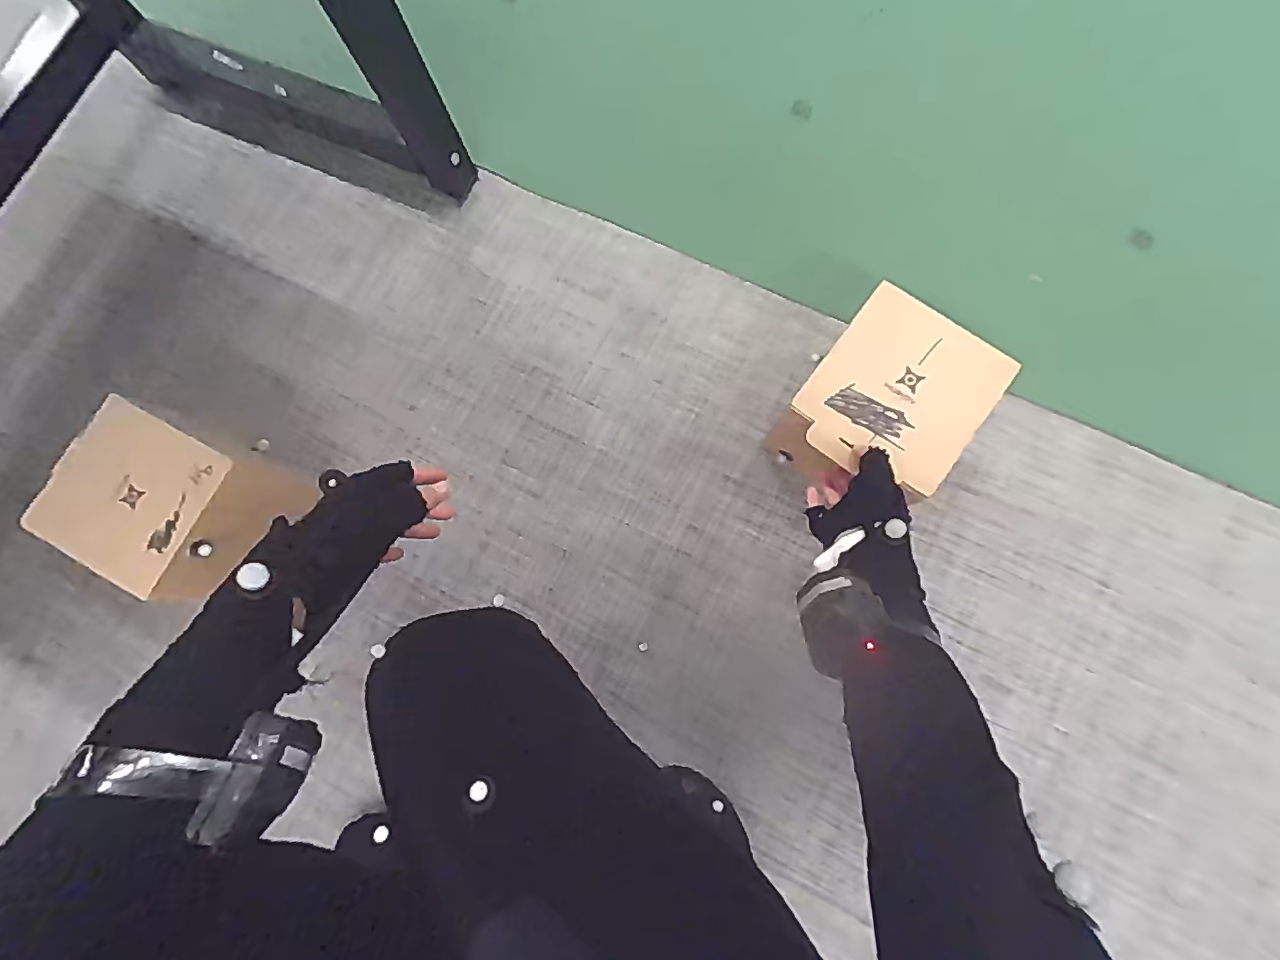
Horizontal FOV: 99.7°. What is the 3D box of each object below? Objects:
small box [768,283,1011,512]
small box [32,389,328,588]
[{"bbox_3d":[0.267,-0.081,0.628,0.168,0.176,0.179,37,83,8],"label":"small box"},{"bbox_3d":[-0.535,0.020,0.656,0.179,0.176,0.168,27,83,9],"label":"small box"}]
